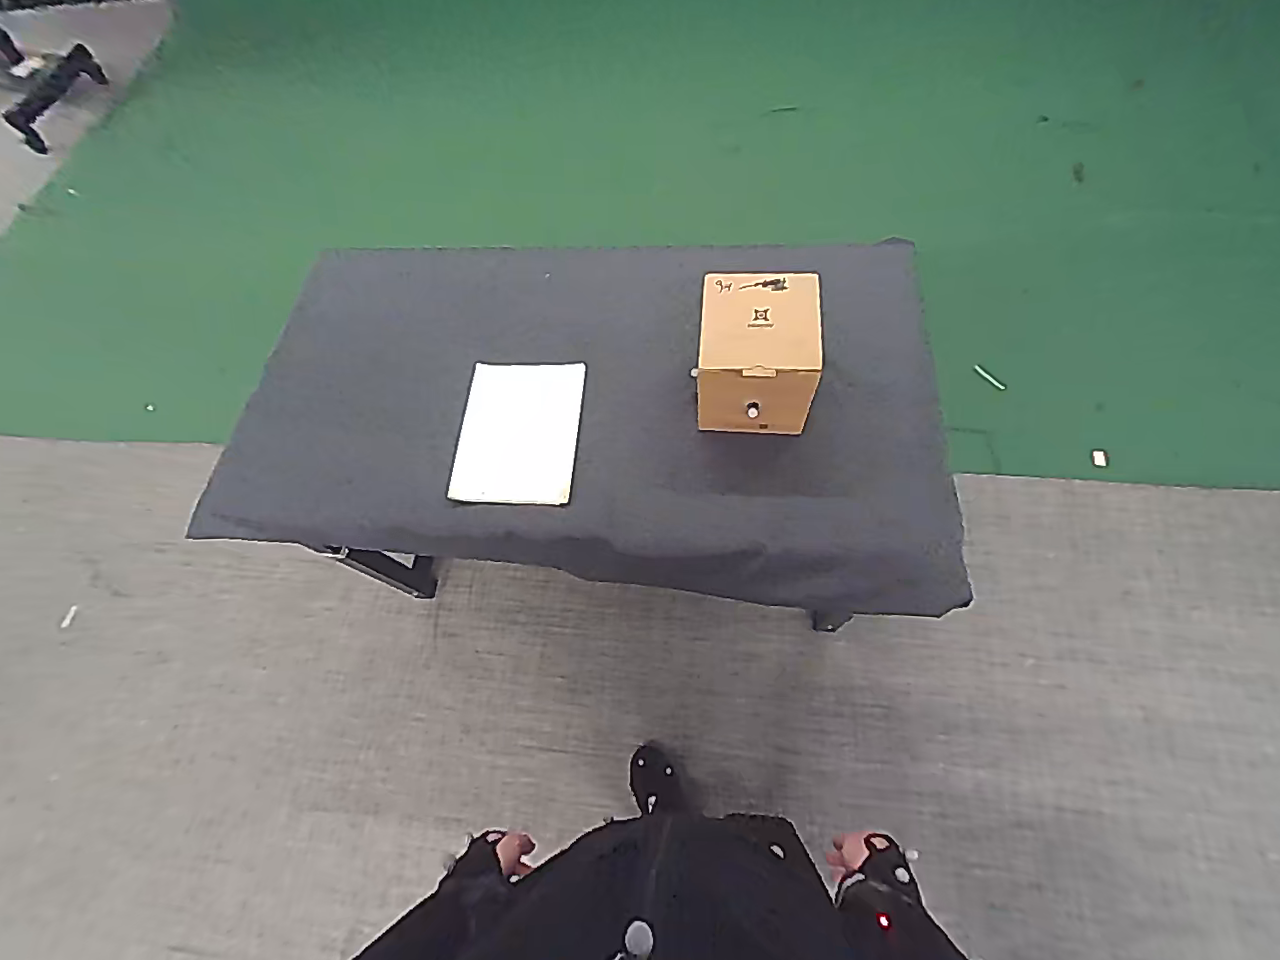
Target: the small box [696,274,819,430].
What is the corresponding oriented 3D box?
[{"bbox_3d":[0.176,-0.189,0.831,0.168,0.176,0.179,3,67,7],"label":"small box"}]
